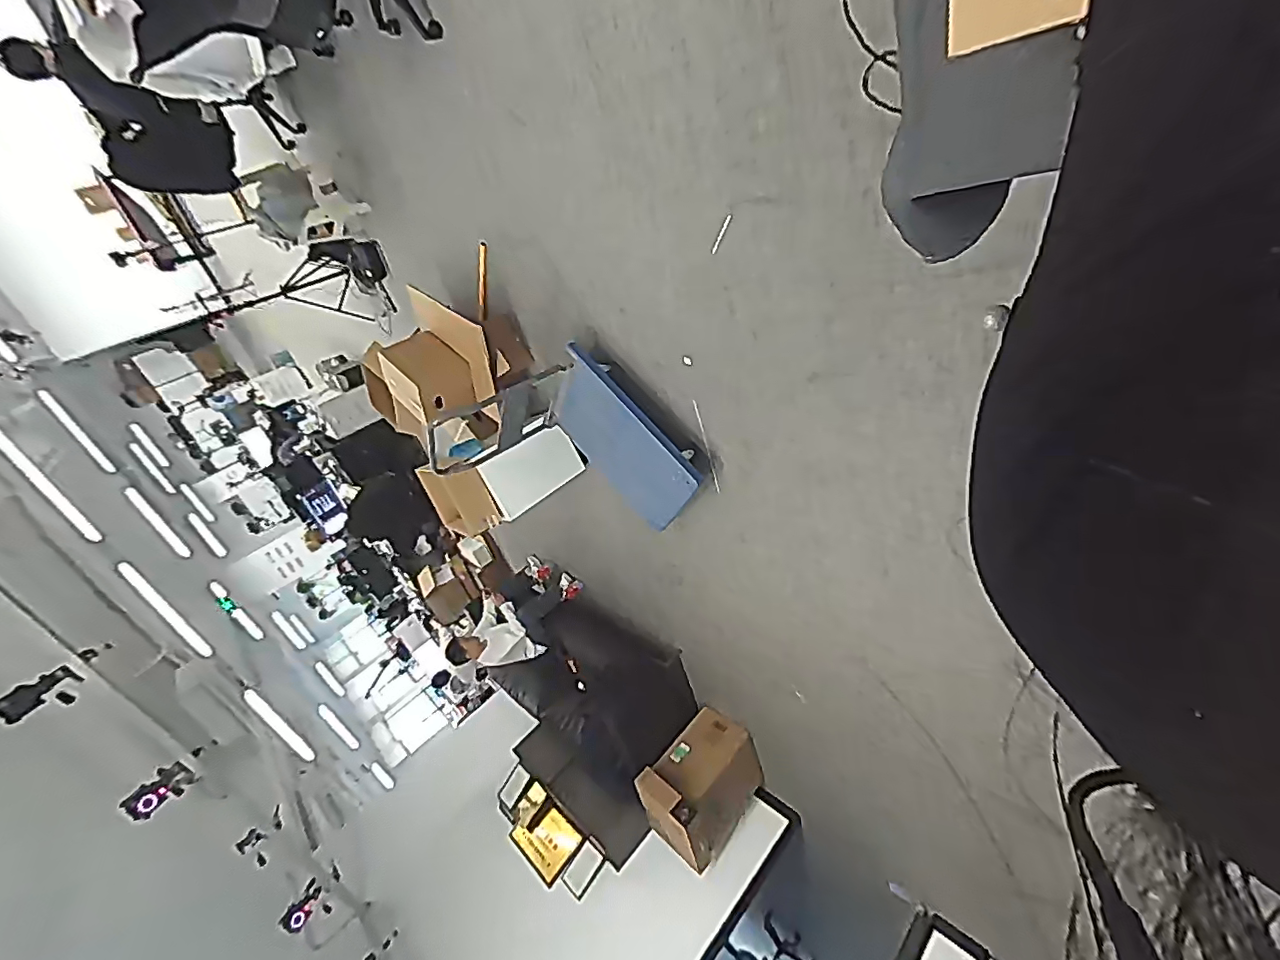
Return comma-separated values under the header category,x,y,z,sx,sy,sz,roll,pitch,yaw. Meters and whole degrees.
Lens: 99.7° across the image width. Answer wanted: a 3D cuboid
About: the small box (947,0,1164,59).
category,x,y,z,sx,sy,sz,roll,pitch,yaw
small box,0.352,-0.442,0.394,0.179,0.176,0.168,18,135,44
